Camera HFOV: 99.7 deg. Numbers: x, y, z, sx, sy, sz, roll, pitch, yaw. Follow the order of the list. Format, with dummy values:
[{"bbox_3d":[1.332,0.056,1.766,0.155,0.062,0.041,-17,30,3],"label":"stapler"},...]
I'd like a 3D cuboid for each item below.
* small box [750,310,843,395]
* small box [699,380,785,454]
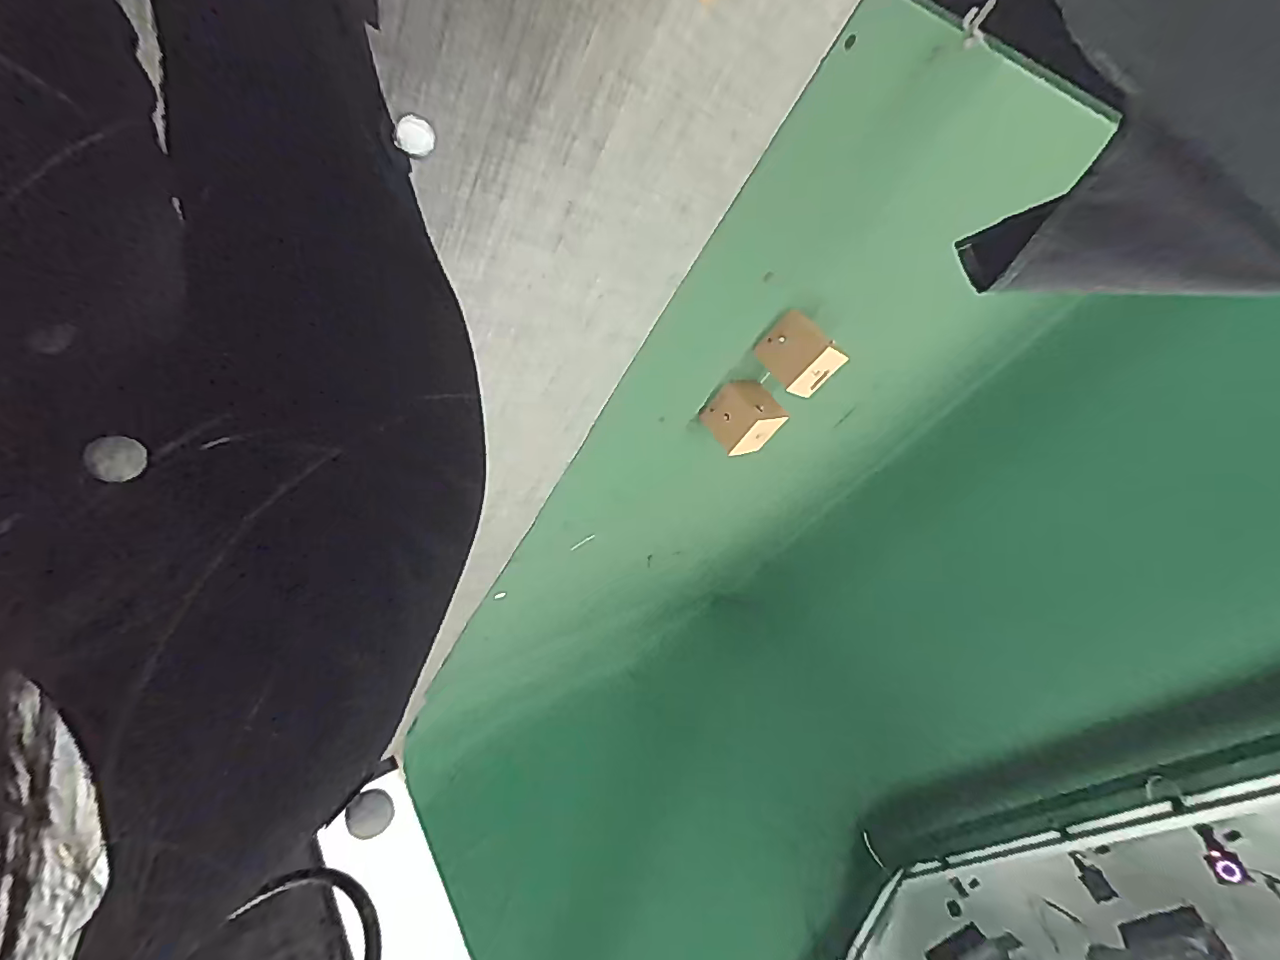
[{"bbox_3d":[0.460,-0.374,1.593,0.168,0.176,0.179,-48,154,27],"label":"small box"},{"bbox_3d":[0.322,-0.206,1.733,0.179,0.176,0.168,-13,150,-44],"label":"small box"}]
